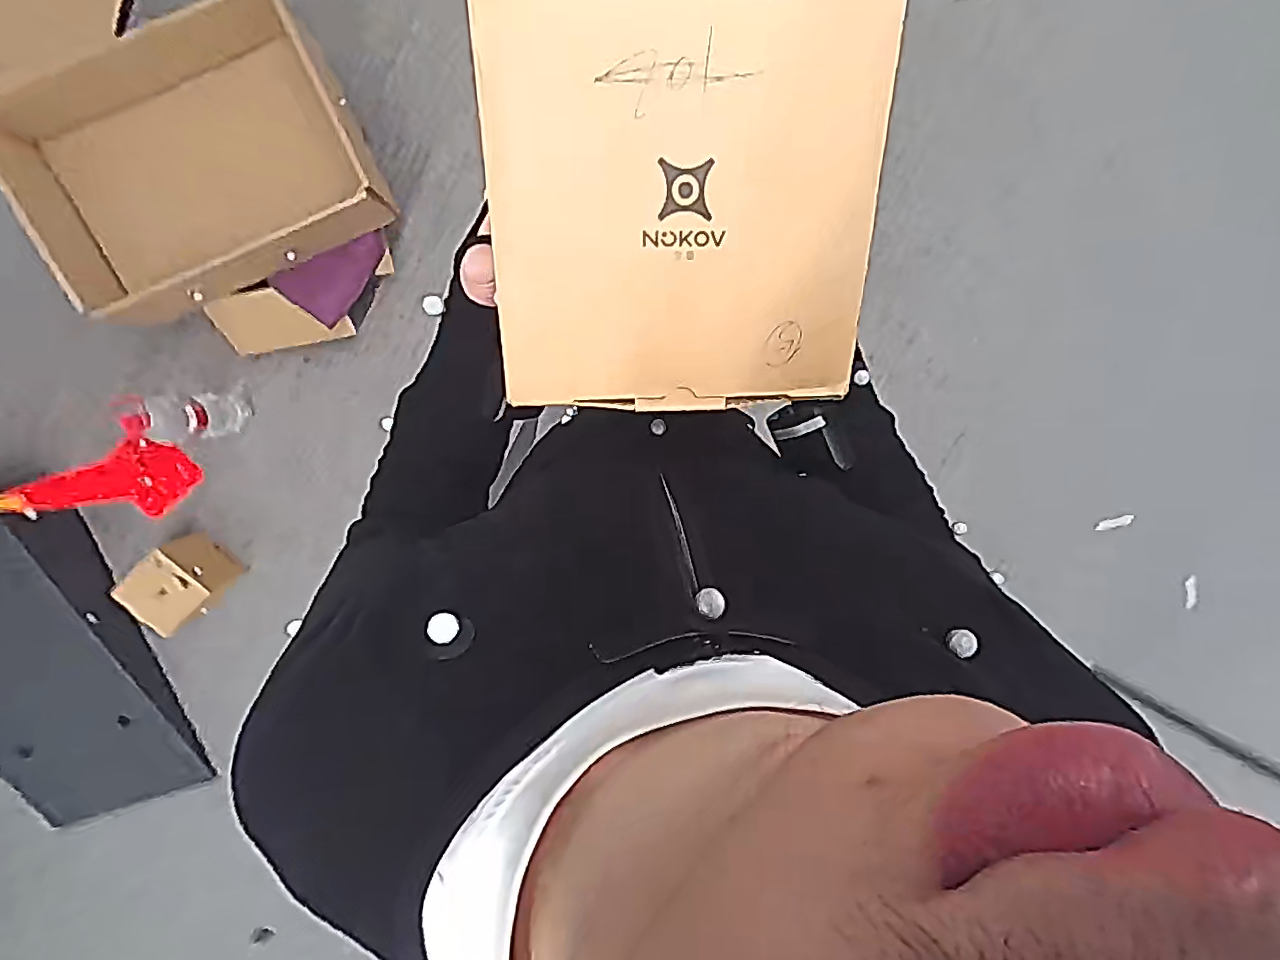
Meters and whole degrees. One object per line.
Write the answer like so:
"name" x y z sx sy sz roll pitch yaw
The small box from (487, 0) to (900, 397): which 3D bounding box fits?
"small box" 0.016 -0.153 0.313 0.168 0.176 0.179 -1 112 -4
